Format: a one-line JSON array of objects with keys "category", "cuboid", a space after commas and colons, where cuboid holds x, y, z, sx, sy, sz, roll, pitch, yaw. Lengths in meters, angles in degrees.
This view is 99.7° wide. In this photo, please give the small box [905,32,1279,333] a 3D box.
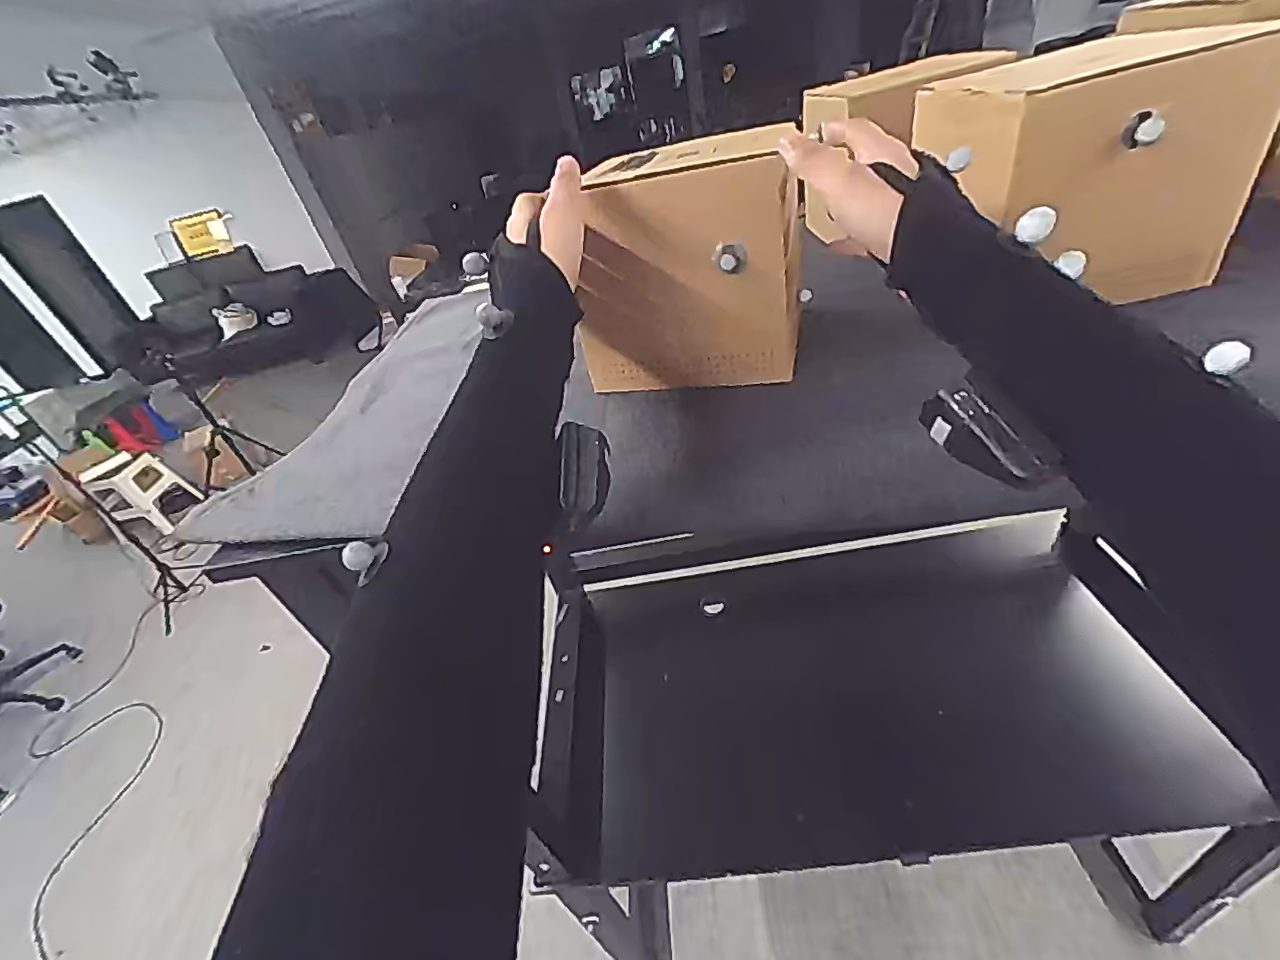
[{"category": "small box", "cuboid": [0.346, -0.244, 0.453, 0.179, 0.176, 0.168, -11, 36, 6]}]

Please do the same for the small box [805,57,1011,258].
[{"category": "small box", "cuboid": [0.304, -0.387, 0.657, 0.168, 0.176, 0.179, -11, 36, 6]}]
